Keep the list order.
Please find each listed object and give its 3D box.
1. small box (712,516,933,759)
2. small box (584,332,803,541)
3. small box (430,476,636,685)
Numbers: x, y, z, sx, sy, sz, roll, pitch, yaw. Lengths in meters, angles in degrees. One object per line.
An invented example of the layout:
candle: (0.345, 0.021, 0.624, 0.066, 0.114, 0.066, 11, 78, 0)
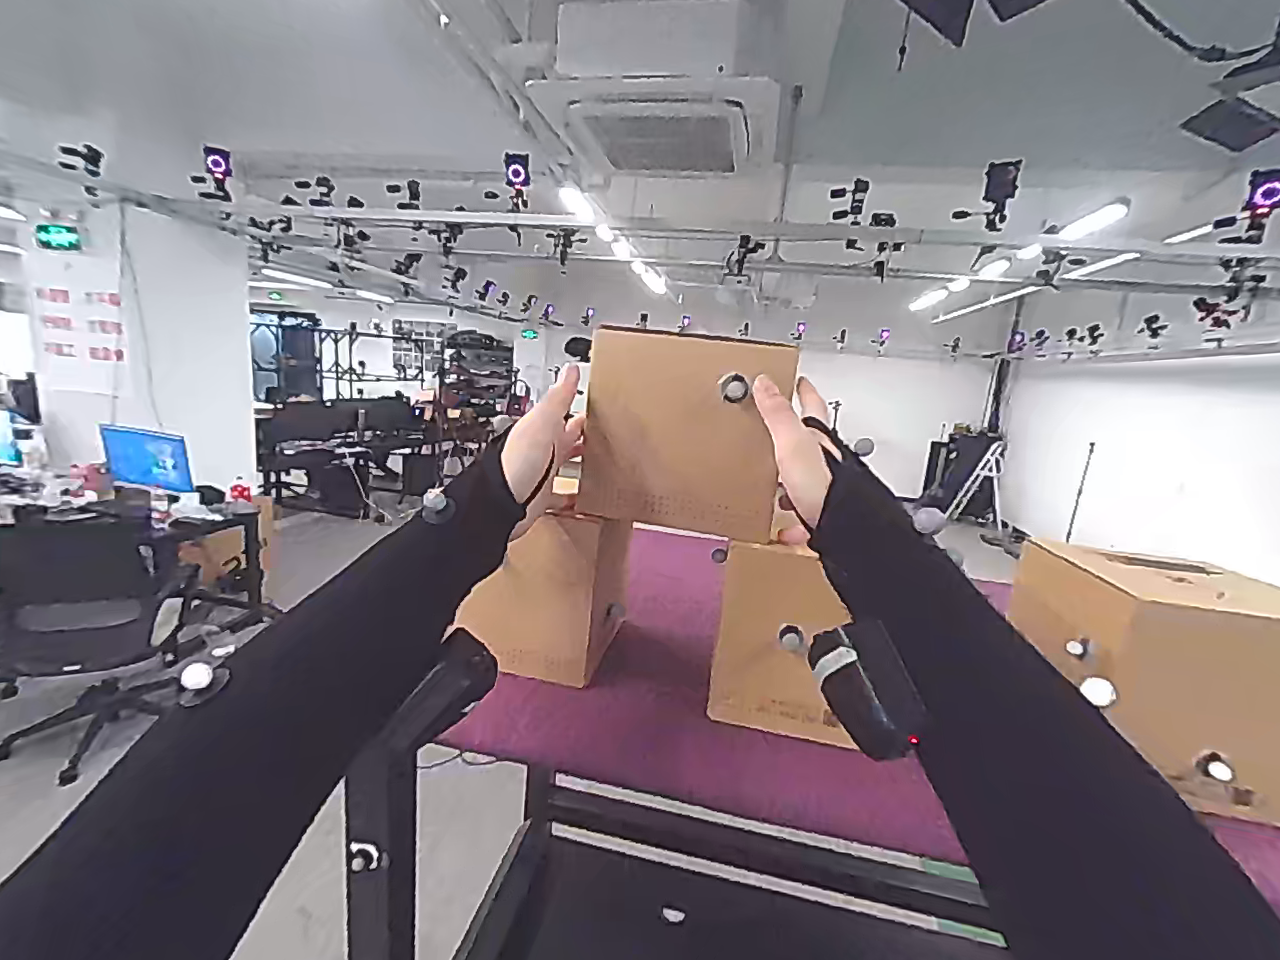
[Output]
small box: (0.164, 0.137, 0.528, 0.168, 0.176, 0.179, 6, 9, 12)
small box: (0.056, -0.044, 0.536, 0.179, 0.176, 0.168, 8, 9, 12)
small box: (-0.109, 0.098, 0.586, 0.179, 0.176, 0.168, 8, 10, 10)
